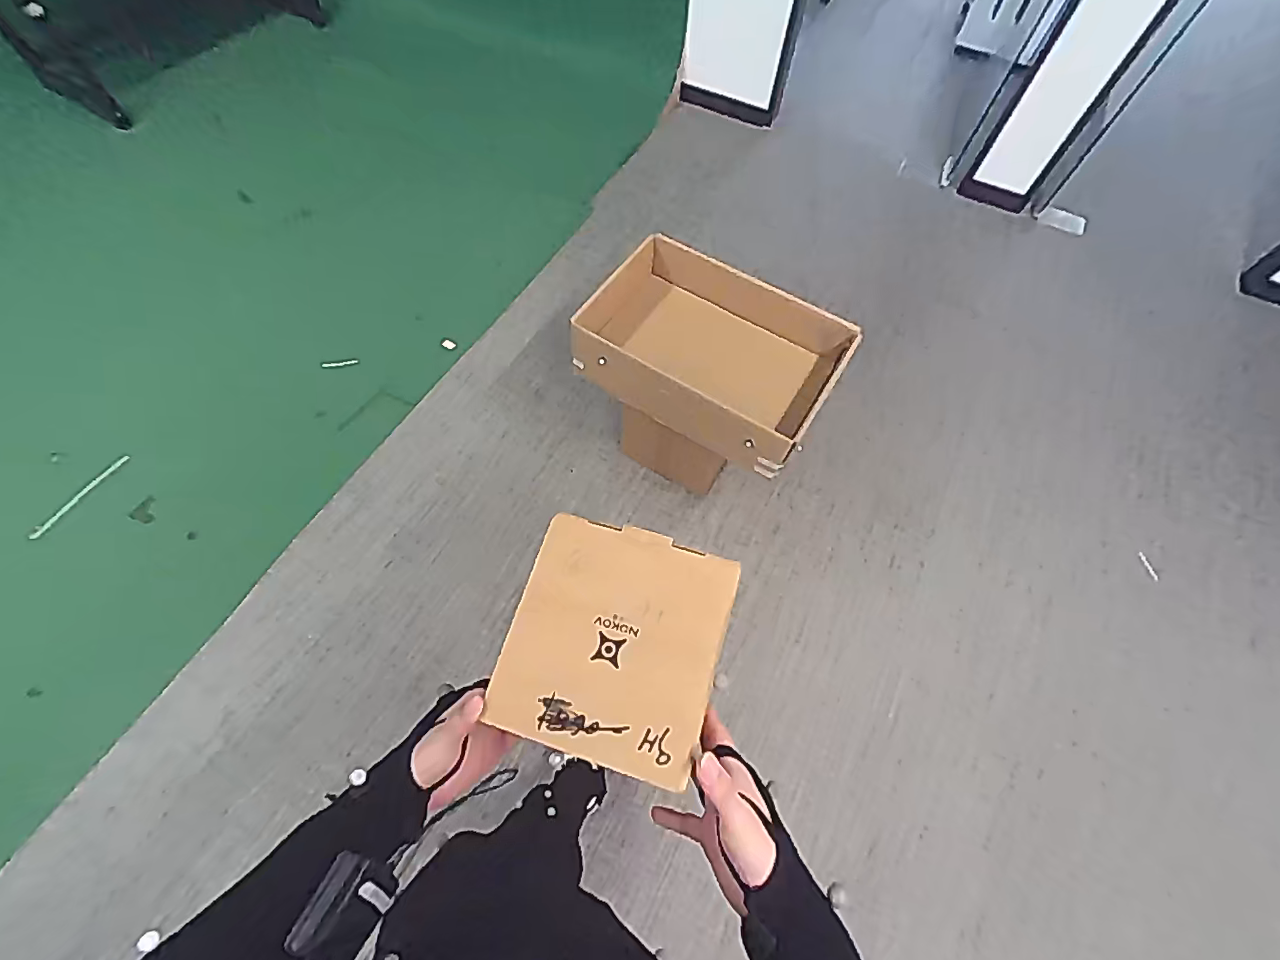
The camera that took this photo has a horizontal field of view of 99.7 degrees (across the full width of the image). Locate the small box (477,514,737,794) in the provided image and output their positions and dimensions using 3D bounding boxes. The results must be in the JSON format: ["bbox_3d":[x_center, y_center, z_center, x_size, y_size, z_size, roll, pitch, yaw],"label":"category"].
[{"bbox_3d":[-0.018,0.157,0.498,0.168,0.176,0.179,15,69,11],"label":"small box"}]
